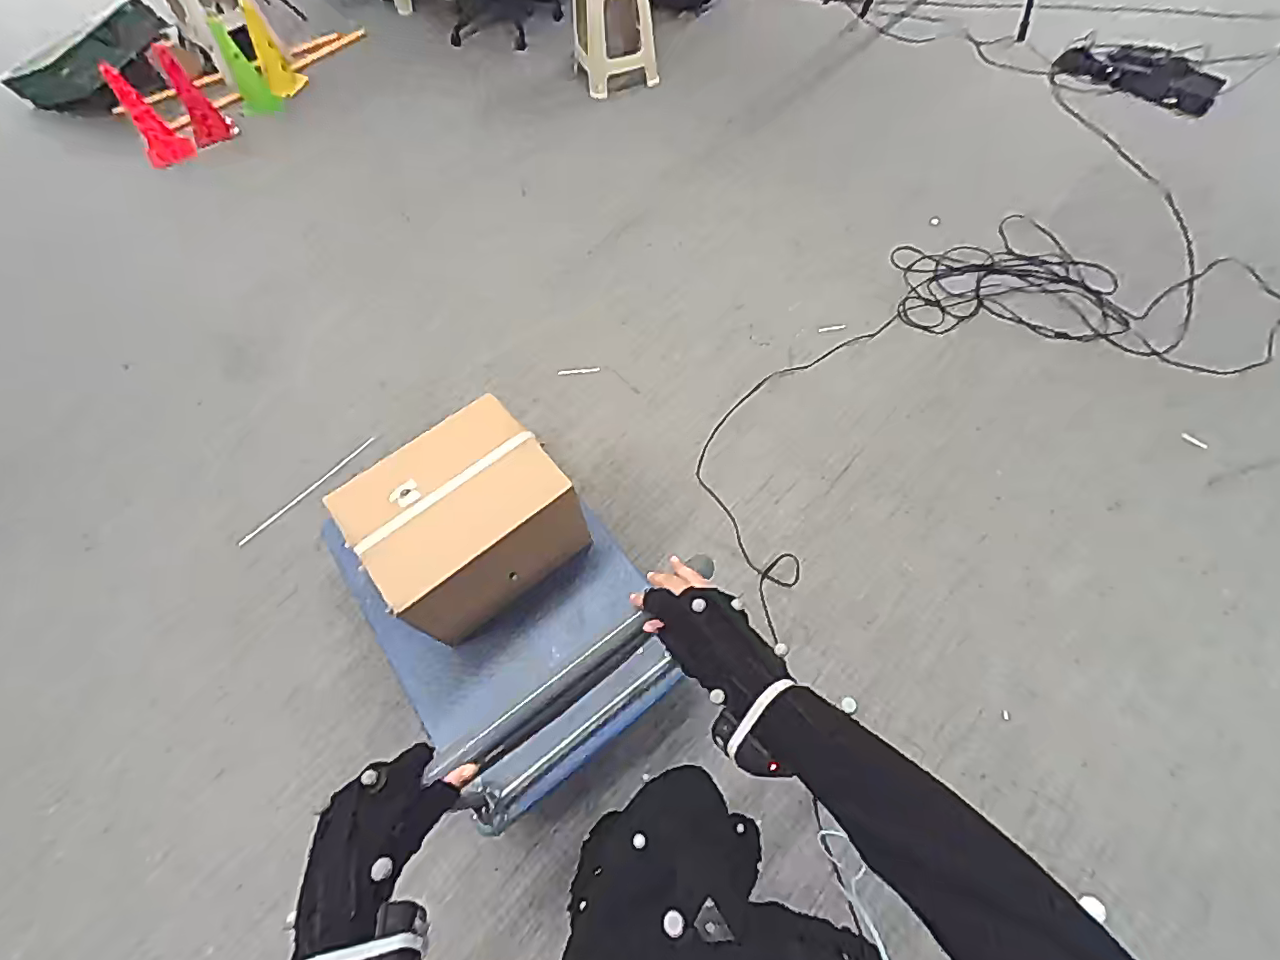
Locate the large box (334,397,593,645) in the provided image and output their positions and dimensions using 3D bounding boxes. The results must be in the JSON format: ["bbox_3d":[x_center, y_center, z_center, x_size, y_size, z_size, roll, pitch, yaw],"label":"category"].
[{"bbox_3d":[-0.365,0.100,1.218,0.408,0.320,0.320,-39,67,-15],"label":"large box"}]
